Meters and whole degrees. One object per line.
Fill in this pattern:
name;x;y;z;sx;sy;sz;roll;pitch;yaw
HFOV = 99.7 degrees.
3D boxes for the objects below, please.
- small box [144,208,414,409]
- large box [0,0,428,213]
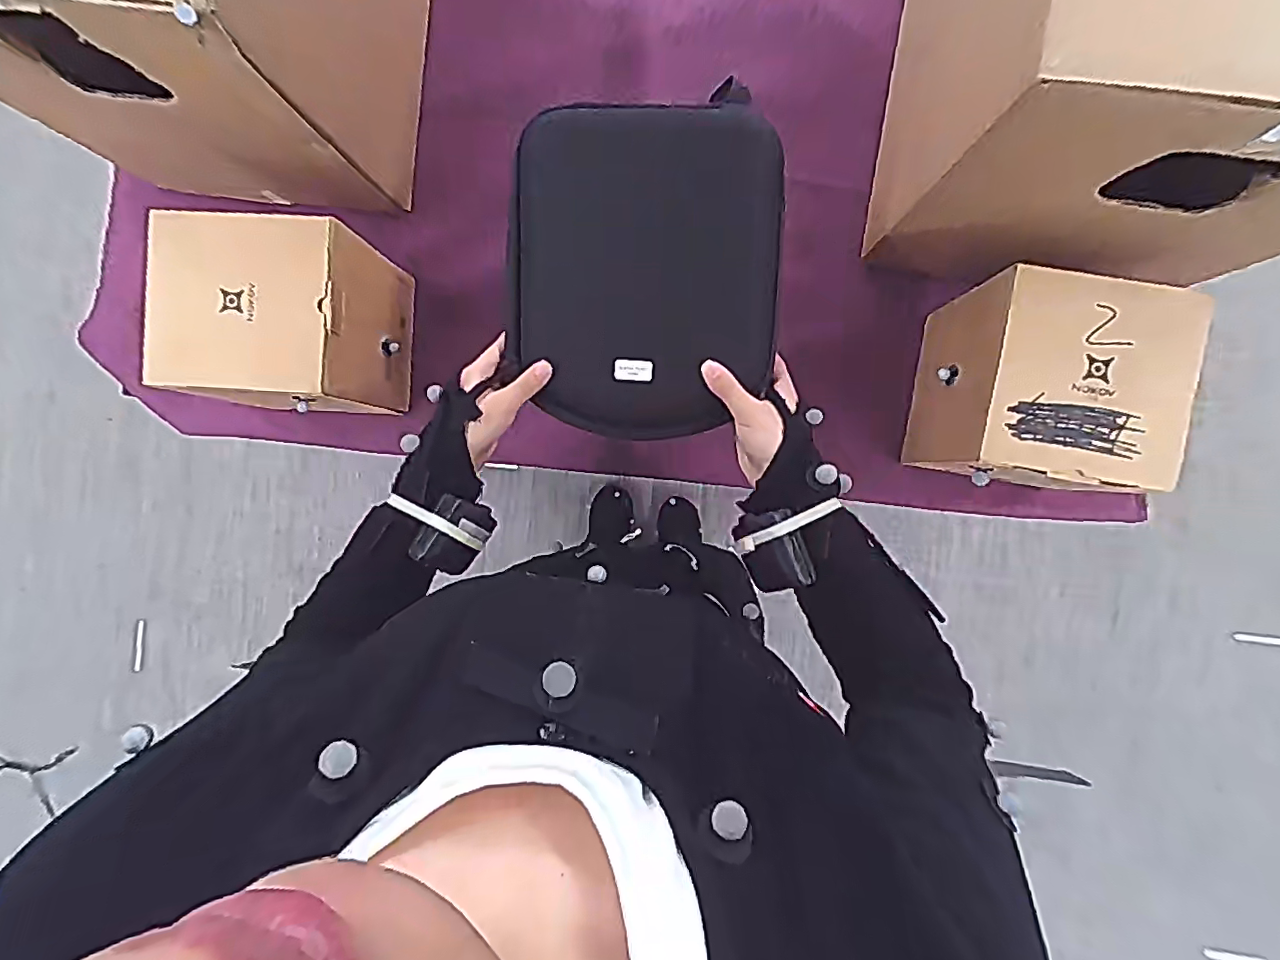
small box;-0.370;-0.169;0.581;0.179;0.176;0.168;2;91;2
large box;-0.406;-0.526;0.501;0.320;0.320;0.408;6;94;1
